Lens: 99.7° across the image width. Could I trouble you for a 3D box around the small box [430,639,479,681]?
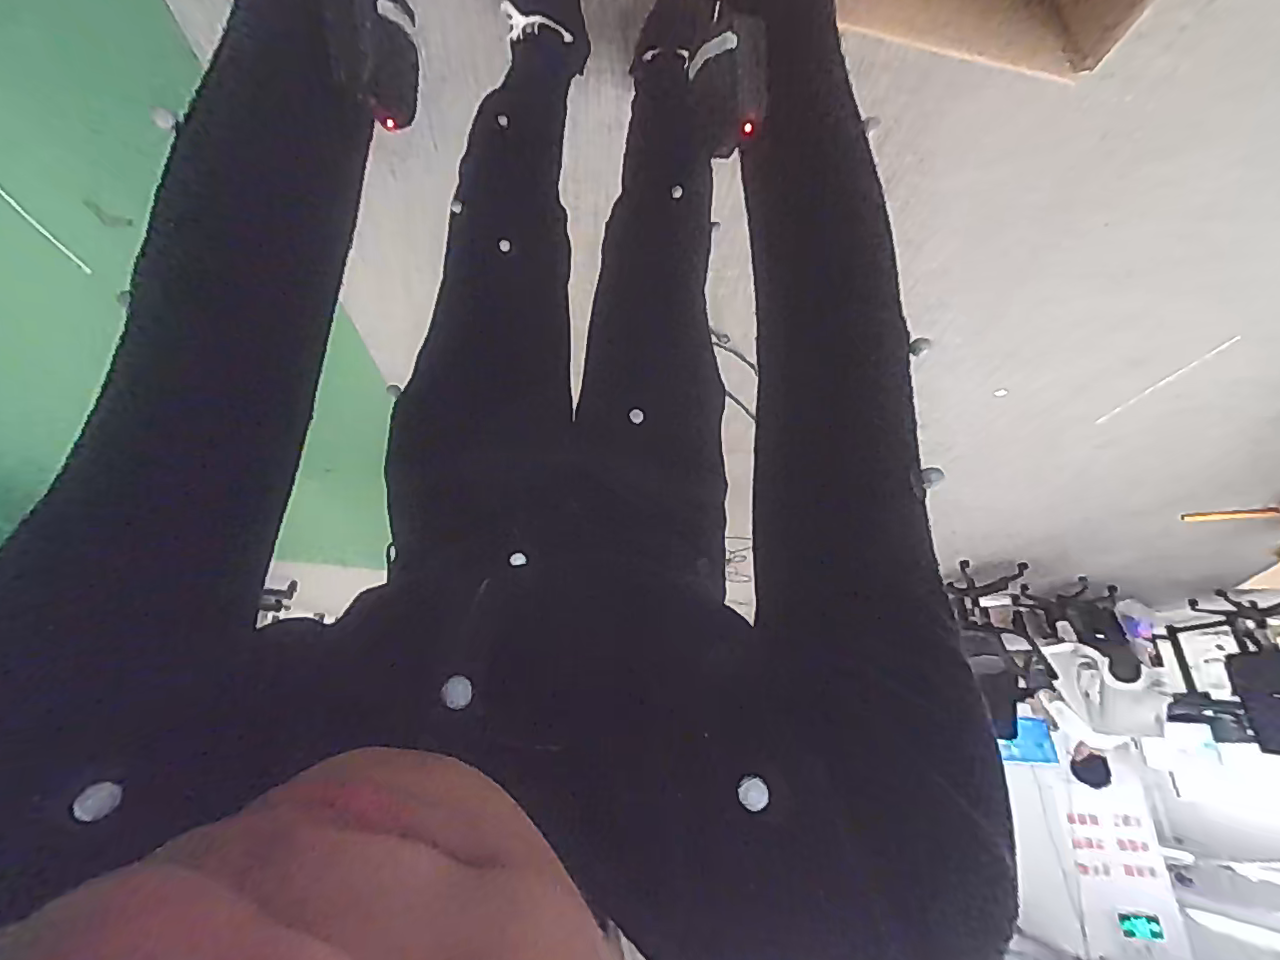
[{"bbox_3d":[-0.821,0.799,2.408,0.168,0.176,0.179,5,155,-6],"label":"small box"}]
